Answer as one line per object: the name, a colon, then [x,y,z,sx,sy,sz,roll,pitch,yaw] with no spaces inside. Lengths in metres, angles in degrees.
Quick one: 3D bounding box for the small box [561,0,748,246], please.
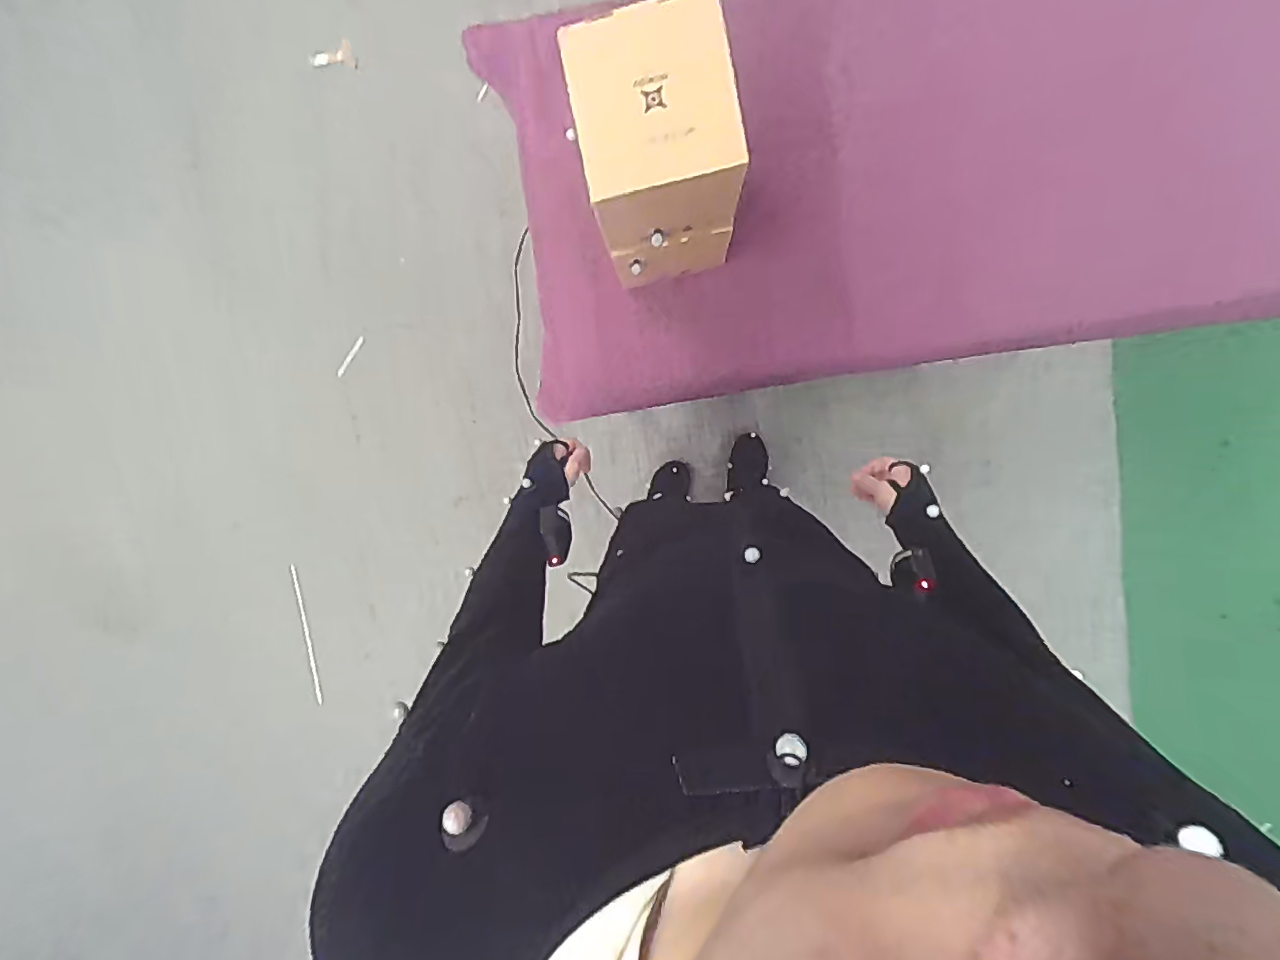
small box: [0.018,-0.397,0.619,0.168,0.176,0.179,-11,95,5]
